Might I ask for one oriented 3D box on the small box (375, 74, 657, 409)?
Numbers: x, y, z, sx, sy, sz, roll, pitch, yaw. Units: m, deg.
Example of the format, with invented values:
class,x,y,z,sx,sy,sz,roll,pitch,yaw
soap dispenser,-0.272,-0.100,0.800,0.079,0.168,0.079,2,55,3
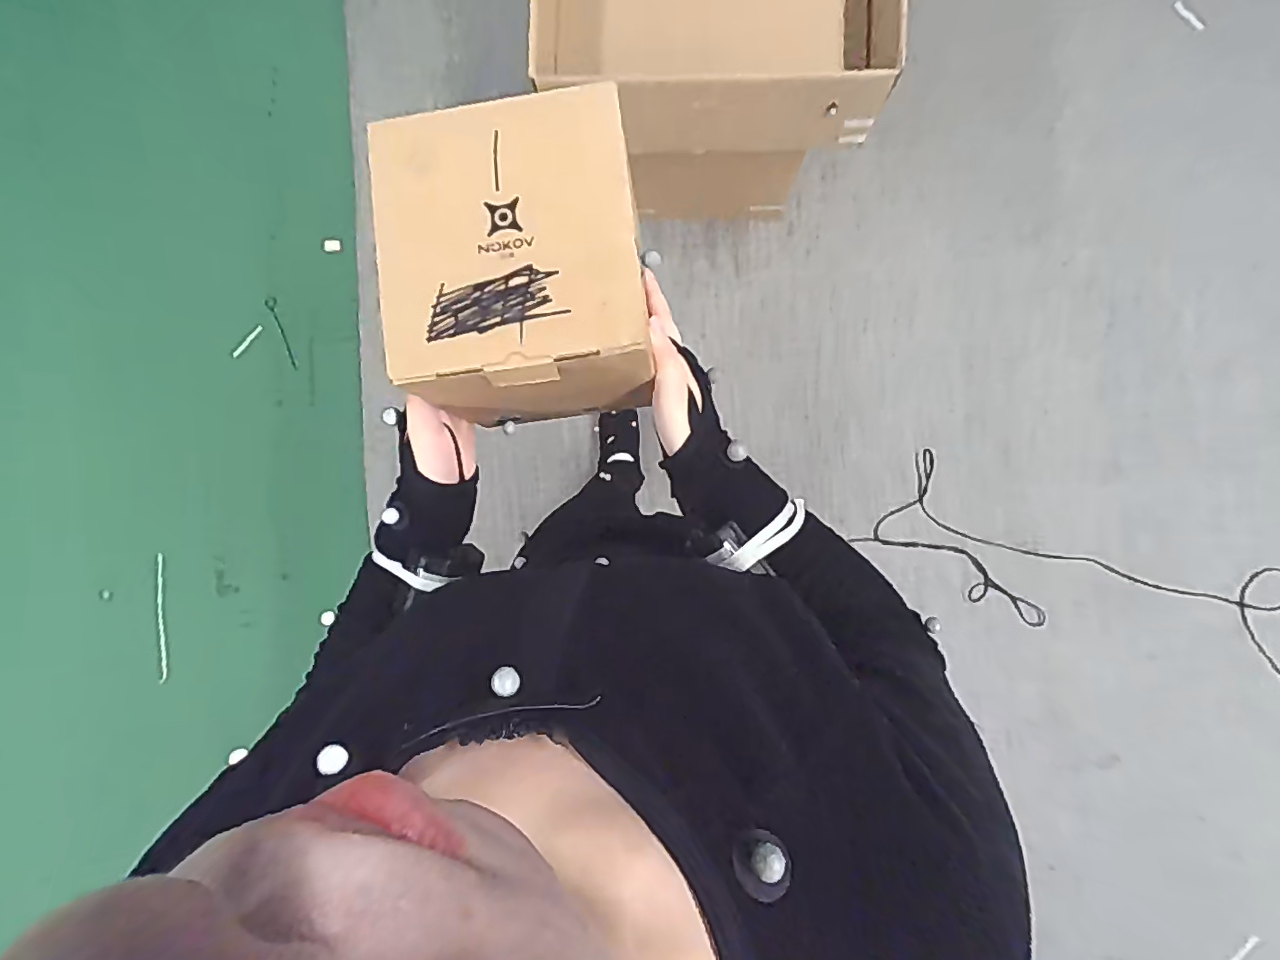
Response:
class,x,y,z,sx,sy,sz,roll,pitch,yaw
small box,-0.078,-0.157,0.420,0.168,0.176,0.179,-6,85,3
